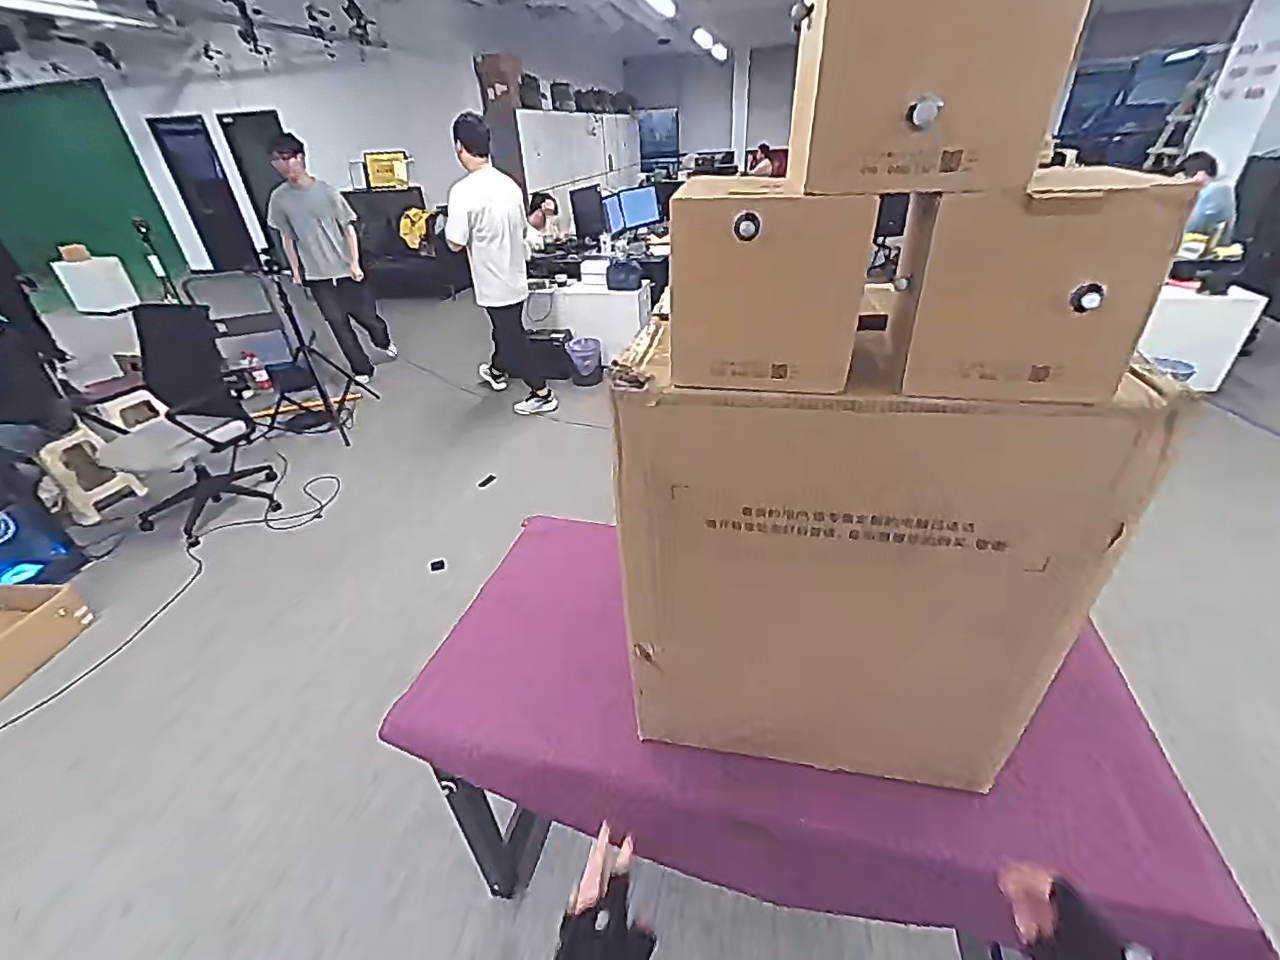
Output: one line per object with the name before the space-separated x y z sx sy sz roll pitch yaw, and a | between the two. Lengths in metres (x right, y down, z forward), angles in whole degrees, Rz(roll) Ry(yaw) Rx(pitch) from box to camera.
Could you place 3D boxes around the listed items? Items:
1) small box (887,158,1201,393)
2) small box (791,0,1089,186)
small box | 0.333 -0.188 0.495 0.168 0.176 0.179 6 33 16
small box | 0.219 -0.339 0.435 0.168 0.176 0.179 3 34 8
